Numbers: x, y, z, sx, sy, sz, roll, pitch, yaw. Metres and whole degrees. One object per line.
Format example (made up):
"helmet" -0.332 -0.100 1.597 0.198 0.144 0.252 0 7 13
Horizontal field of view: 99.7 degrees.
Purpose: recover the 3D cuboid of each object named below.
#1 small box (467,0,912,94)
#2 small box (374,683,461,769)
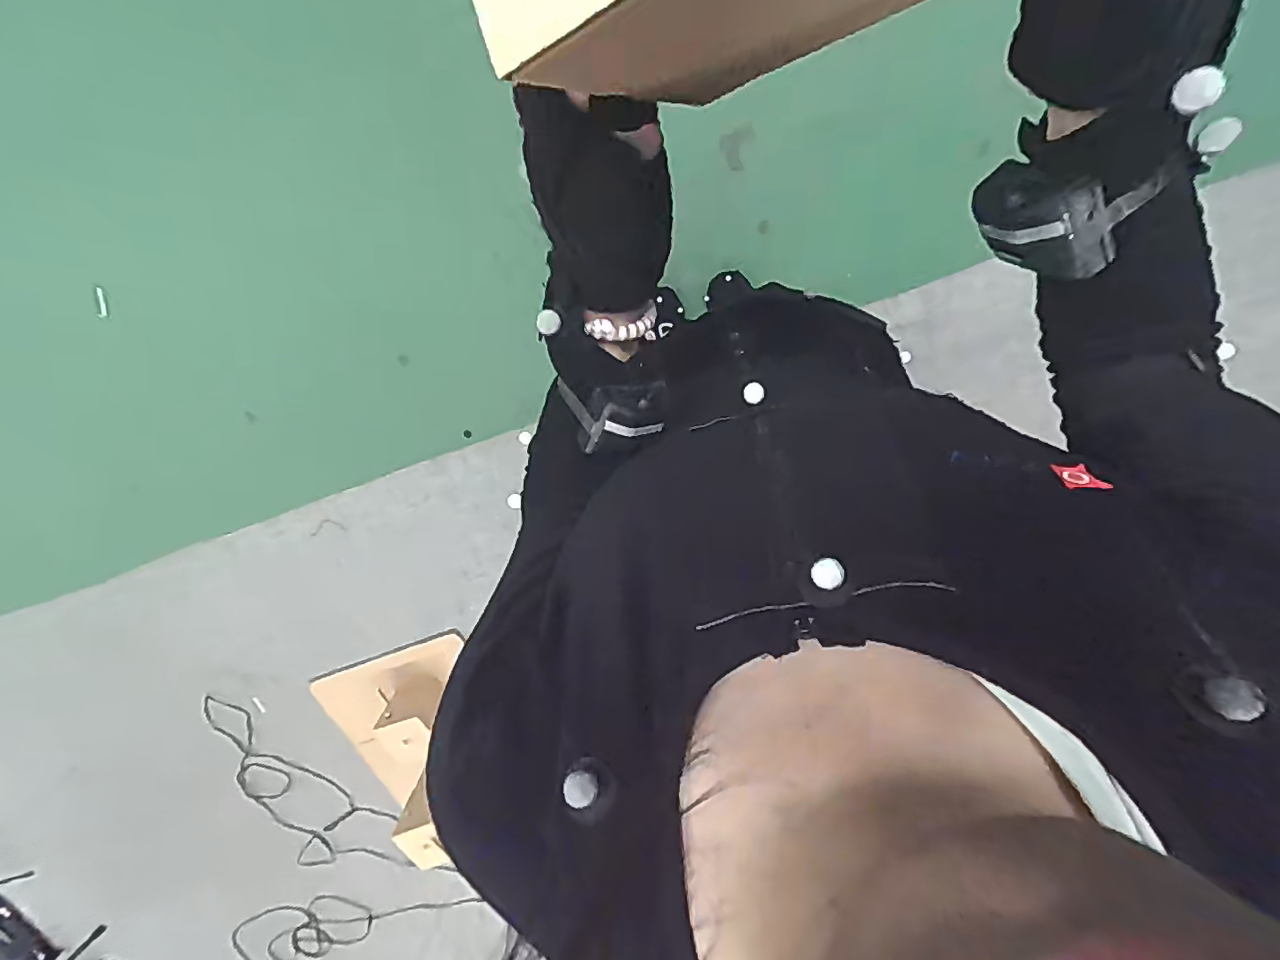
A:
"small box" 0.035 -0.263 0.190 0.179 0.176 0.168 1 117 37
"small box" -0.722 0.803 1.774 0.179 0.176 0.168 -21 109 10
